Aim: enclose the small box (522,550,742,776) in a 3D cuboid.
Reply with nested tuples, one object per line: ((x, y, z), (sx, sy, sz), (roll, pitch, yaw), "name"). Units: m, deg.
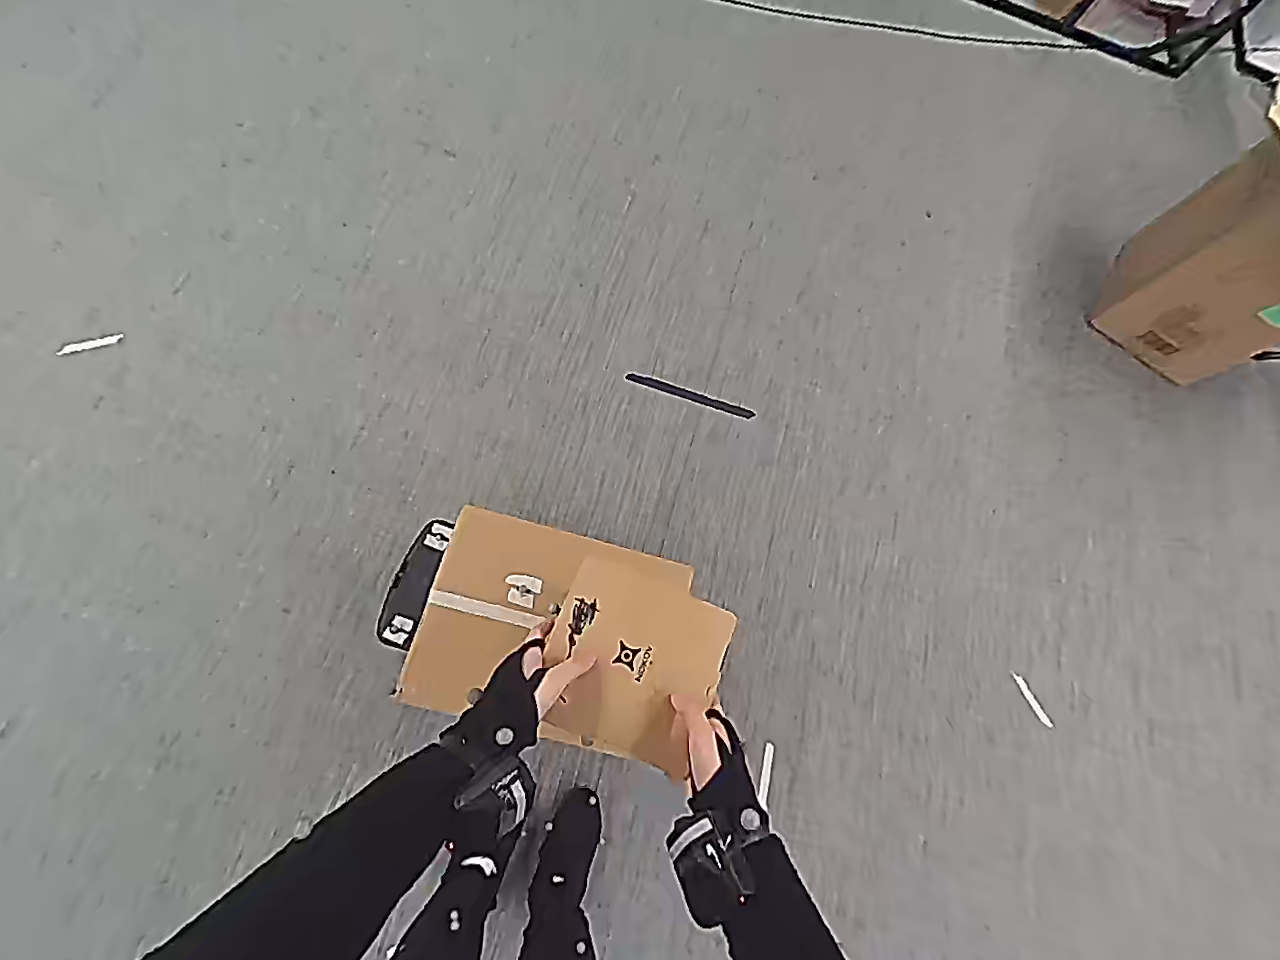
((-0.015, 0.199, 0.606), (0.179, 0.176, 0.168), (24, 68, -2), "small box")

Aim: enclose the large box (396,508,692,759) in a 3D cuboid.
((-0.153, 0.280, 0.991), (0.408, 0.320, 0.320), (16, 69, -3), "large box")
